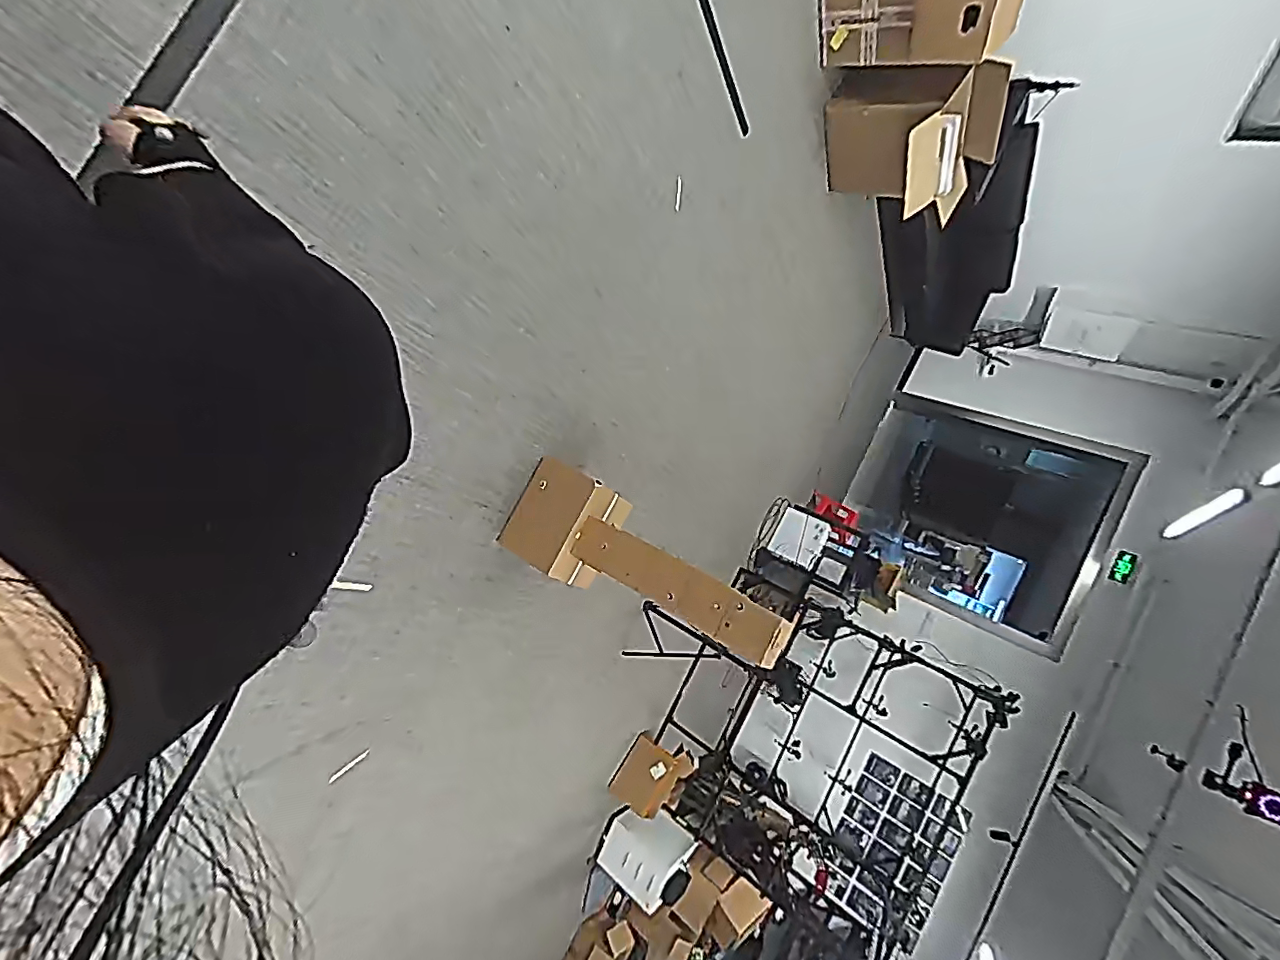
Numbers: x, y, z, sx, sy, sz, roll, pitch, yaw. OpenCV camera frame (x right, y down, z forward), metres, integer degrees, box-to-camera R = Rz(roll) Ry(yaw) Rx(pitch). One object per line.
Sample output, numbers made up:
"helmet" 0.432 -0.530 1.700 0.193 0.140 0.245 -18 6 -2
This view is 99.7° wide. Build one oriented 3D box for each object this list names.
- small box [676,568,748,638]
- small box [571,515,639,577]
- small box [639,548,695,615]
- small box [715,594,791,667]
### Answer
"small box" 0.241 0.427 1.850 0.179 0.176 0.168 -61 147 -7
"small box" -0.140 0.255 2.107 0.179 0.176 0.168 -62 147 -3
"small box" 0.116 0.370 1.935 0.179 0.176 0.168 -61 148 -7
"small box" 0.367 0.488 1.764 0.168 0.176 0.179 -61 148 -7
